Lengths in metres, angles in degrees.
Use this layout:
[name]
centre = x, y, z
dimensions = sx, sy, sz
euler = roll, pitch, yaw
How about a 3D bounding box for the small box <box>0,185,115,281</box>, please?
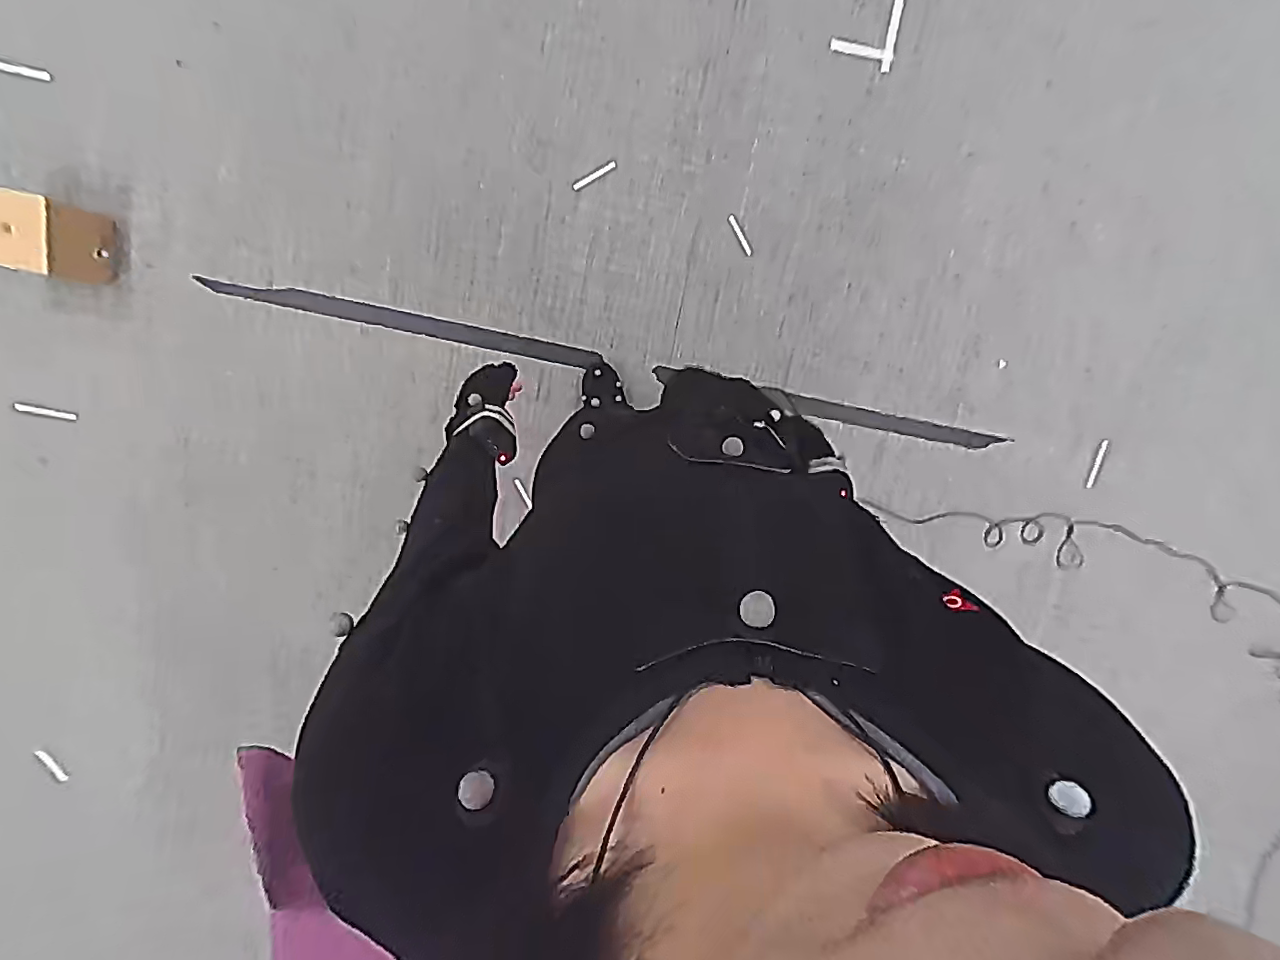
[small box]
centre = -1.384, -0.570, 1.252
dimensions = 0.179, 0.176, 0.168
euler = 10, 102, -5
